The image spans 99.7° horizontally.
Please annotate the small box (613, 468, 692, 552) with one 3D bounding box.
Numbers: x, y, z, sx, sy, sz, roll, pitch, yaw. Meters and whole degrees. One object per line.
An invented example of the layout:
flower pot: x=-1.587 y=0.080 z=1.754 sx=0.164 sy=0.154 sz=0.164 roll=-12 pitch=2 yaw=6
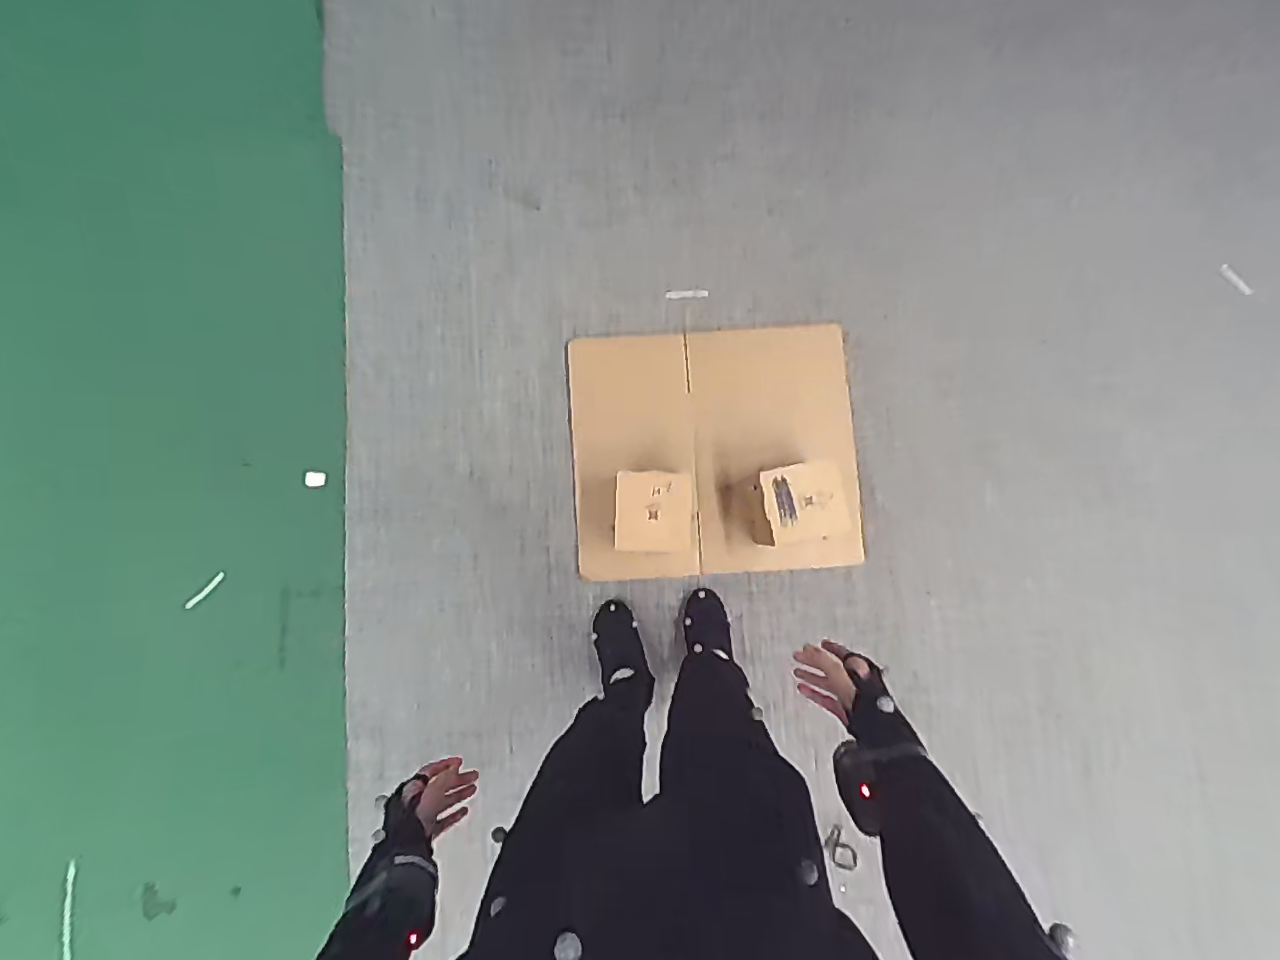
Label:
small box: x=0.028 y=0.070 z=1.242 sx=0.168 sy=0.176 sz=0.179 roll=2 pitch=85 yaw=-1
